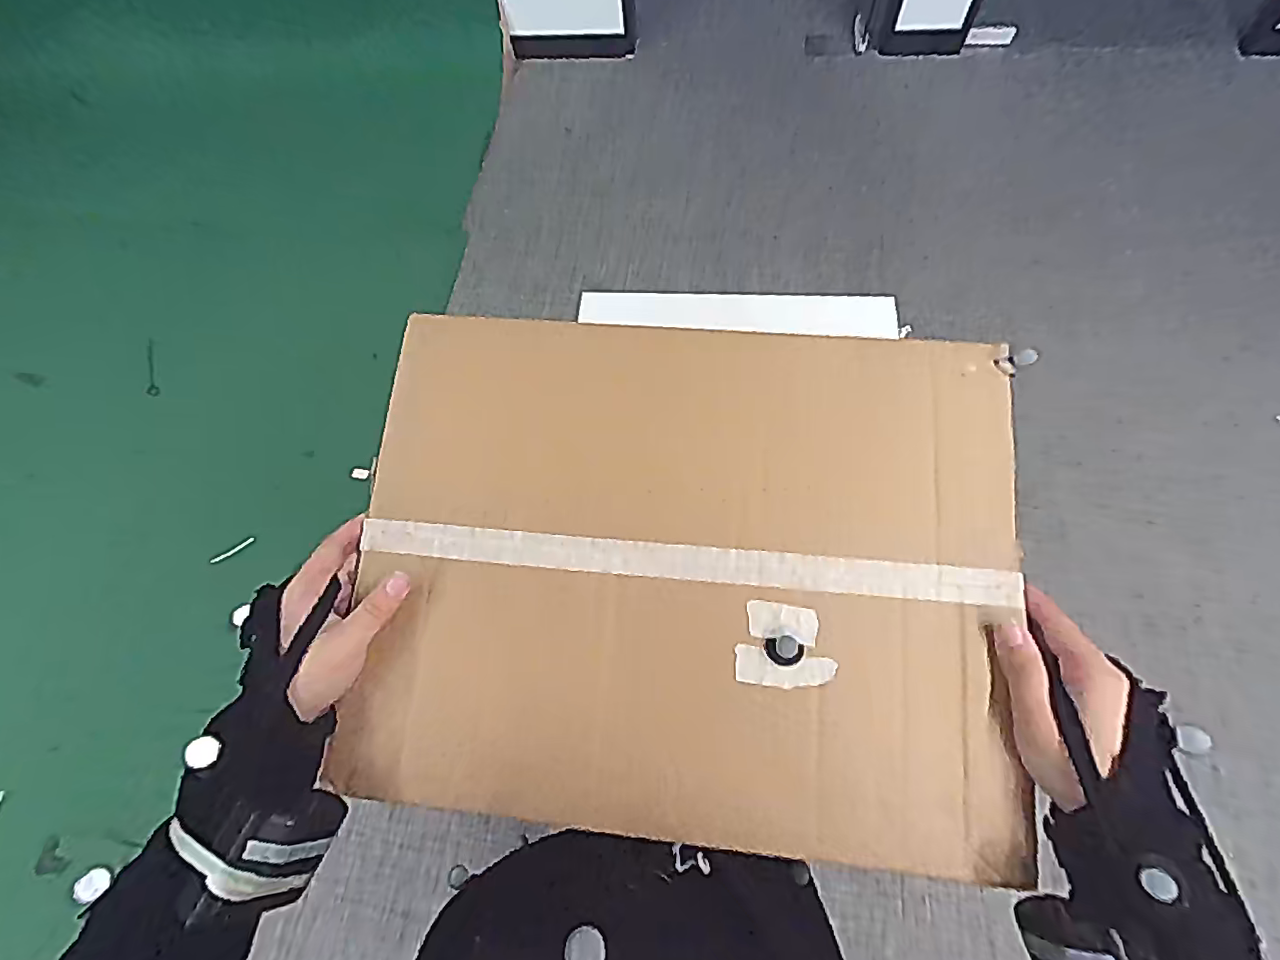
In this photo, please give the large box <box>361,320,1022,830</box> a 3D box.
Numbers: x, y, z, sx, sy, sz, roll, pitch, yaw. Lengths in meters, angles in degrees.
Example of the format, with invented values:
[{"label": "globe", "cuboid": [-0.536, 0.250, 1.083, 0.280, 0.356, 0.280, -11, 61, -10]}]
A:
[{"label": "large box", "cuboid": [0.039, 0.074, 0.498, 0.408, 0.320, 0.320, 4, 79, 4]}]
